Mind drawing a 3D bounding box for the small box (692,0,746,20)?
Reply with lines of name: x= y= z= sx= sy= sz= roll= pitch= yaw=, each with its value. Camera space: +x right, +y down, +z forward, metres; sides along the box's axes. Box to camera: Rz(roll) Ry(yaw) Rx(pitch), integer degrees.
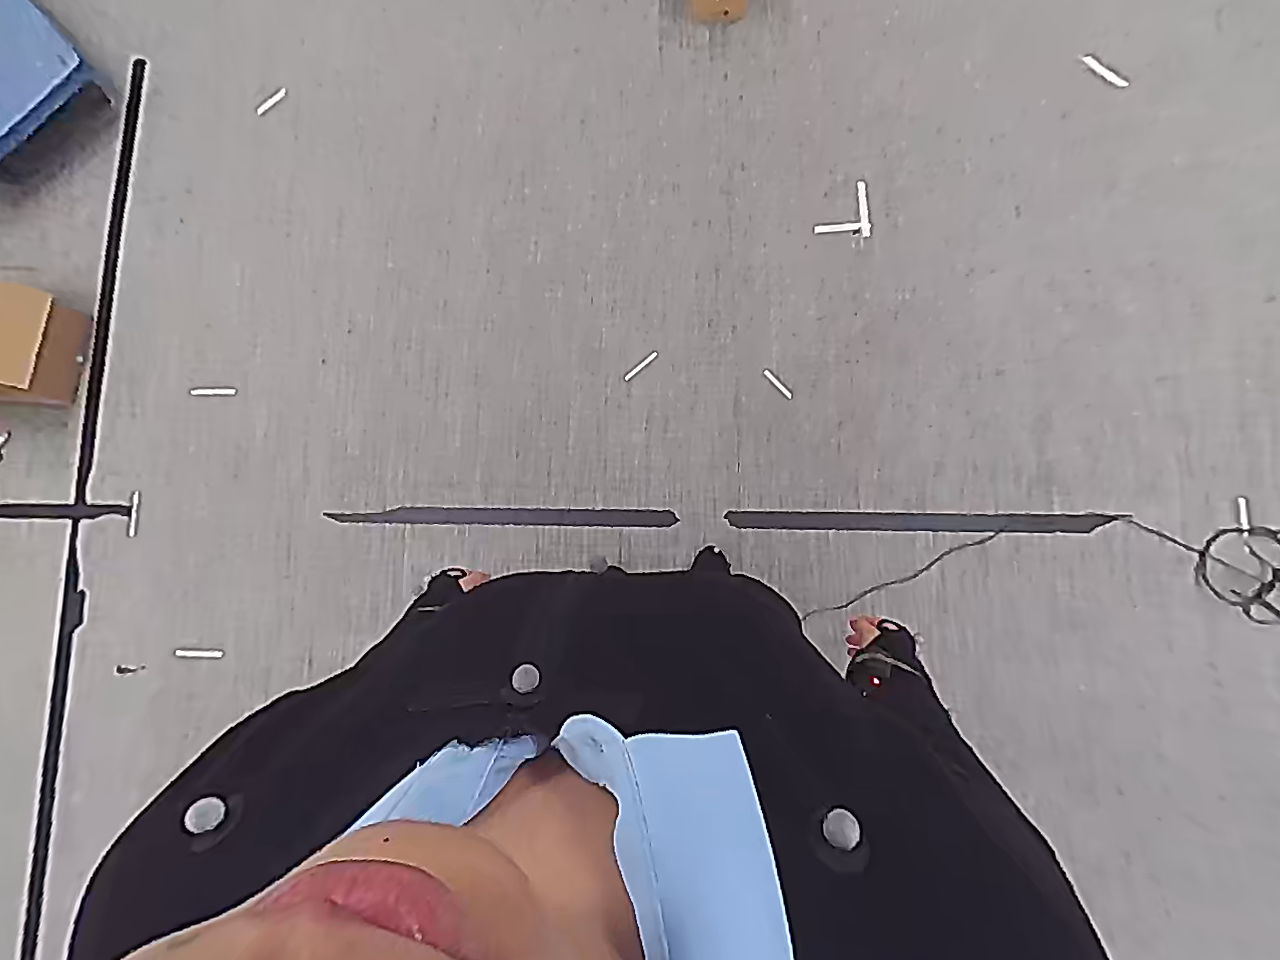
small box: x=0.243 y=-1.542 z=1.639 sx=0.168 sy=0.176 sz=0.179 roll=2 pitch=82 yaw=5
